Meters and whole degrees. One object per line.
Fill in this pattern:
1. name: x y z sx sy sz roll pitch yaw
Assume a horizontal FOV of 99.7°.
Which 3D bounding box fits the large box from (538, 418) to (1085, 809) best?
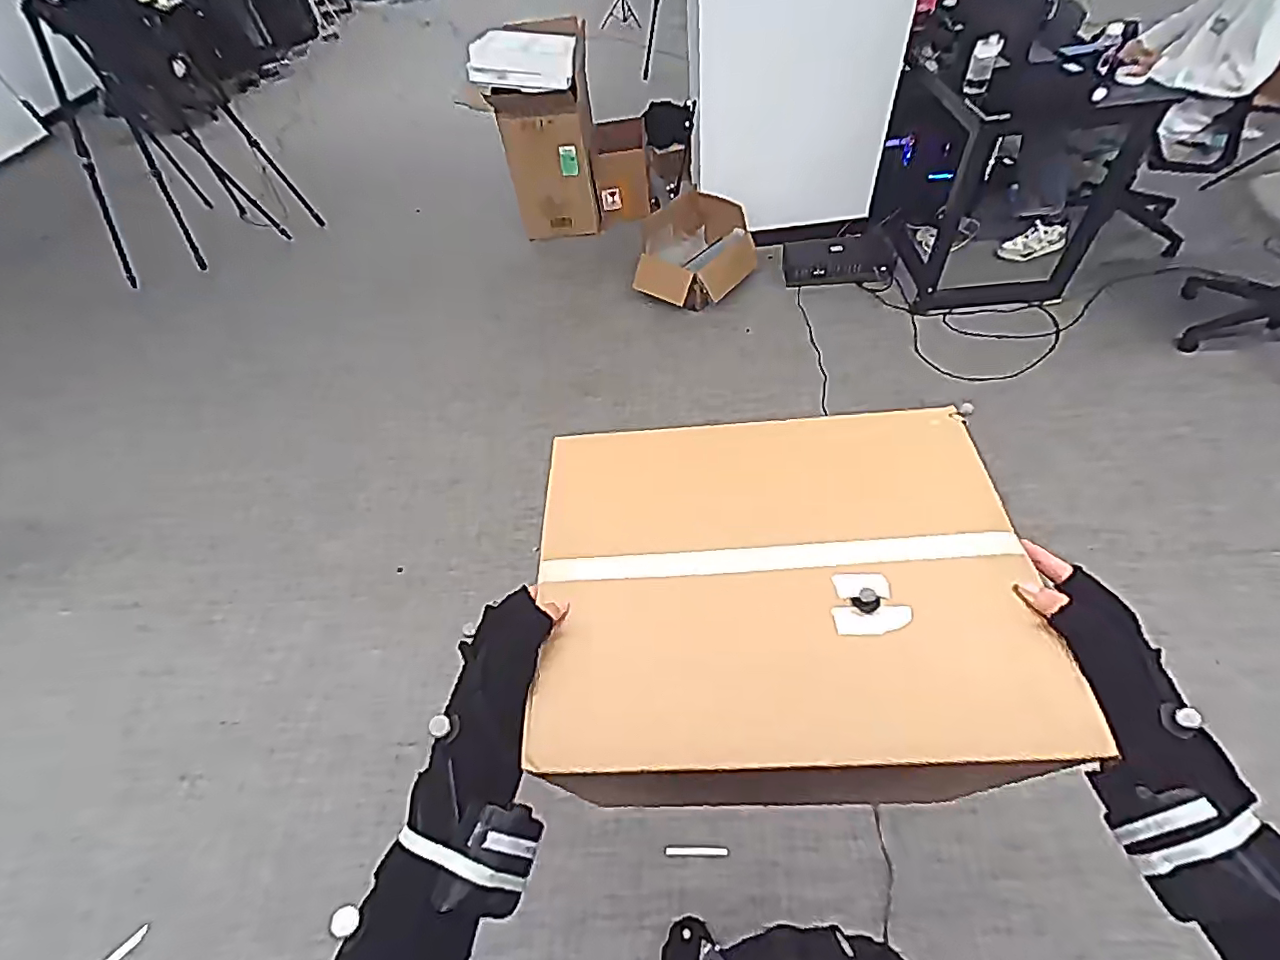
1. large box: 0.129 0.163 0.598 0.408 0.320 0.320 -4 54 5
